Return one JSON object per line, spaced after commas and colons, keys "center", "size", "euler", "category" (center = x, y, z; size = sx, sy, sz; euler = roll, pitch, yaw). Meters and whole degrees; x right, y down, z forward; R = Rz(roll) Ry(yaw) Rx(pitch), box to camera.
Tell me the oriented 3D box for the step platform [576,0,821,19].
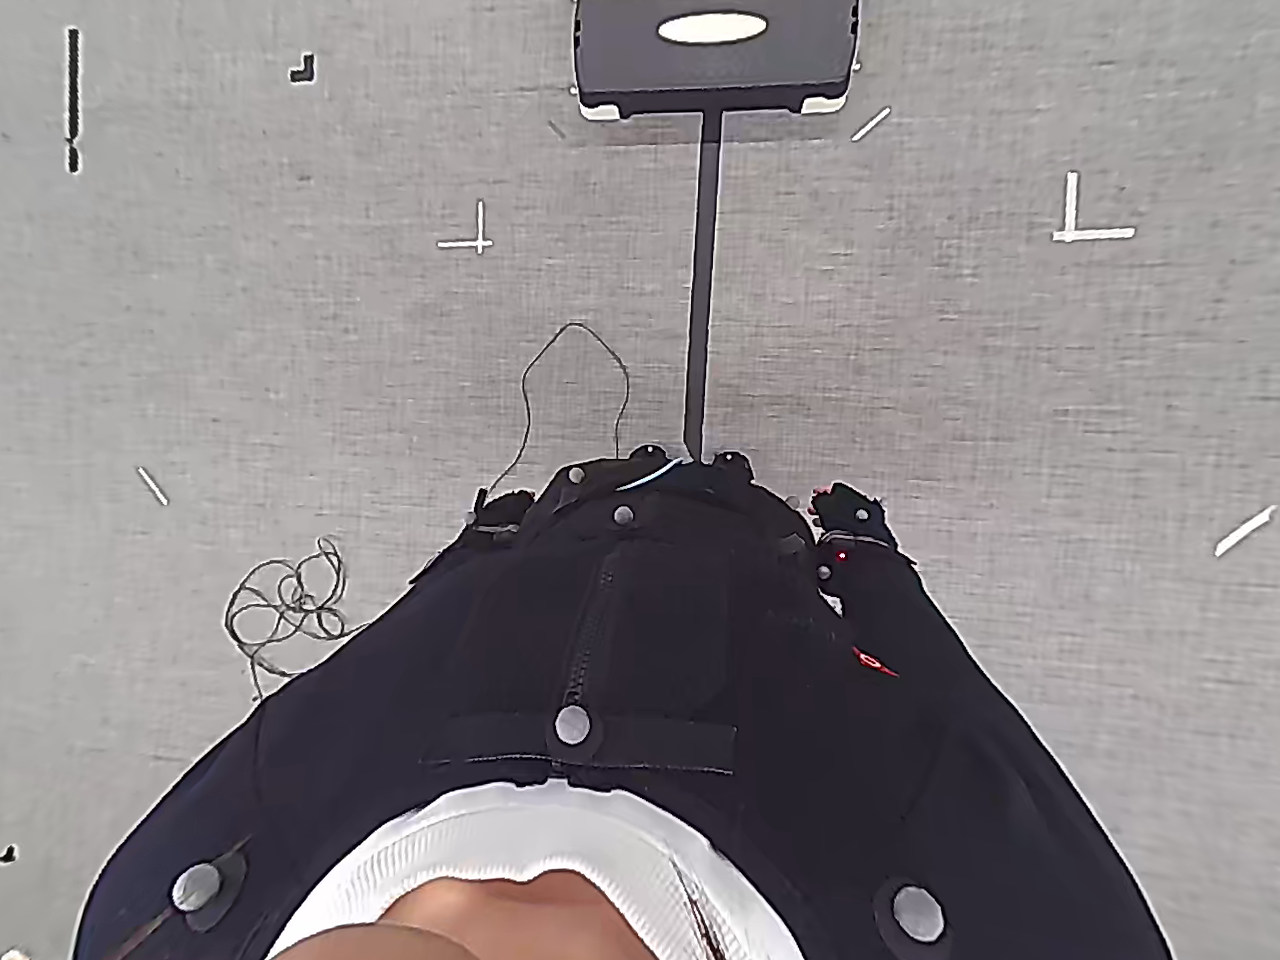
{"center": [0.156, -1.313, 1.257], "size": [0.684, 0.204, 0.286], "euler": [1, 94, 6], "category": "step platform"}
